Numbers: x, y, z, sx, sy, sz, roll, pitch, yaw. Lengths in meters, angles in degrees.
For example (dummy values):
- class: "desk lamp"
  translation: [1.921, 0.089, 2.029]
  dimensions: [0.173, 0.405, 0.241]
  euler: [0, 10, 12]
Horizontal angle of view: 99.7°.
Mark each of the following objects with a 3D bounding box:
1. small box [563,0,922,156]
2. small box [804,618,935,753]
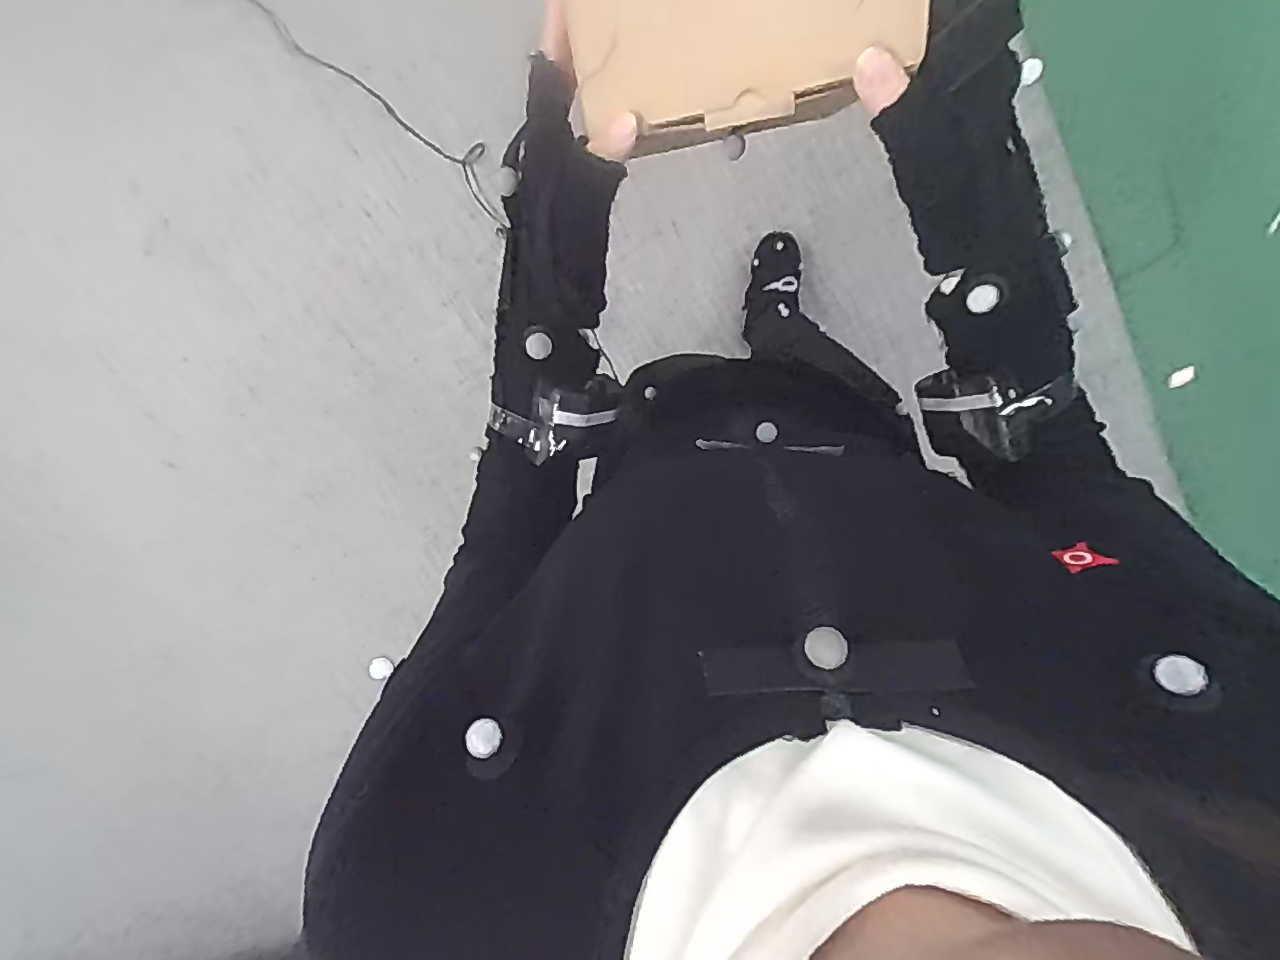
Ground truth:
- class: "small box"
  translation: [0.044, -0.296, 0.302]
  dimensions: [0.168, 0.176, 0.179]
  euler: [-9, 118, 8]
- class: "small box"
  translation: [0.466, 0.418, 1.125]
  dimensions: [0.179, 0.176, 0.168]
  euler: [-31, 99, 15]
